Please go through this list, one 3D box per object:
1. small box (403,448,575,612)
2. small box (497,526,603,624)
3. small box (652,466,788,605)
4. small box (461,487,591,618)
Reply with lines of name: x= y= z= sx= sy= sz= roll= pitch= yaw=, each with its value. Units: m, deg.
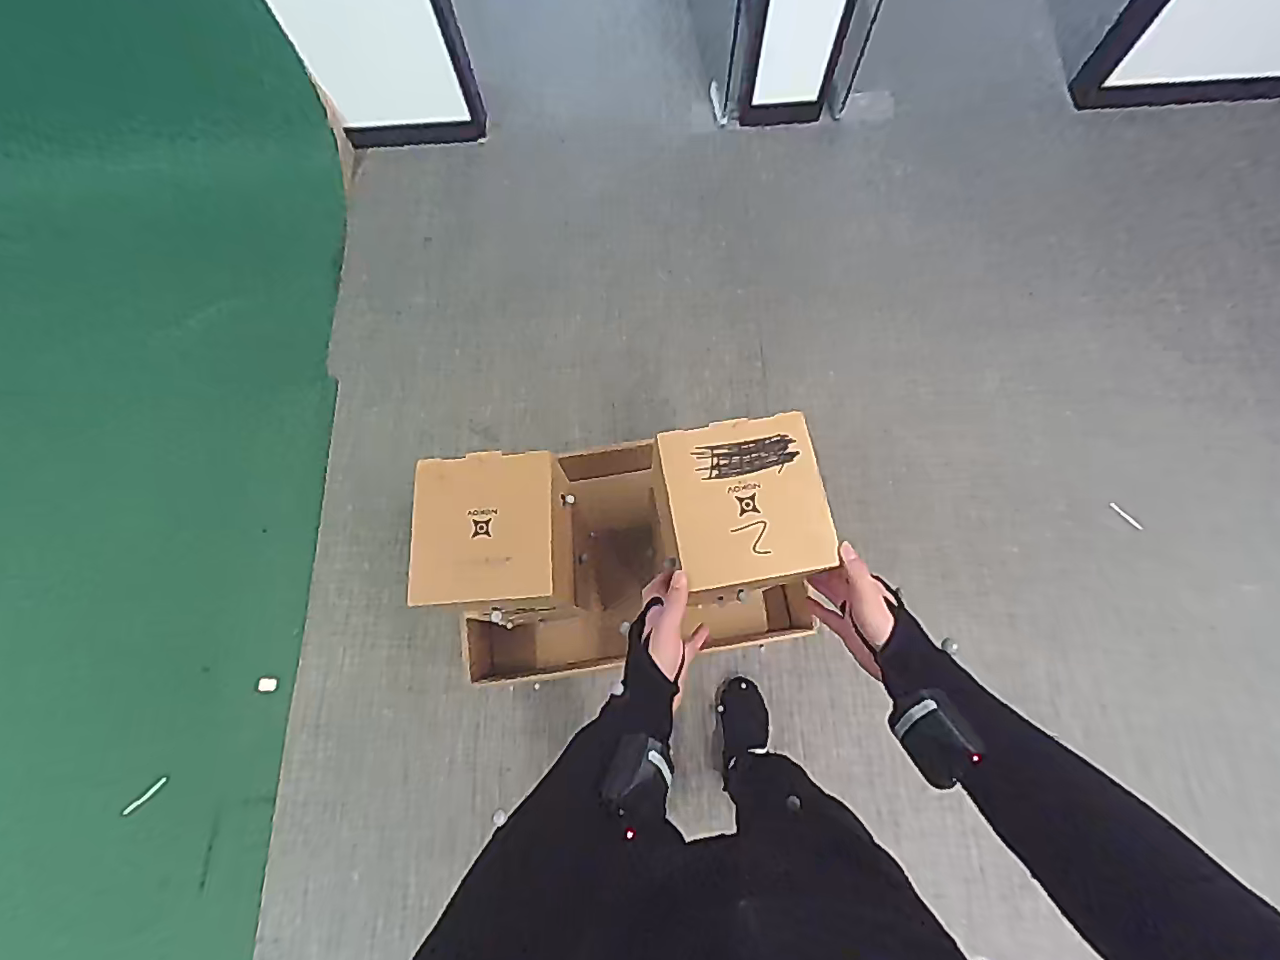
small box: x=-0.178 y=0.071 z=0.690 sx=0.168 sy=0.176 sz=0.179 roll=-3 pitch=73 yaw=1
small box: x=-0.166 y=0.169 z=1.002 sx=0.168 sy=0.176 sz=0.179 roll=-8 pitch=73 yaw=0
small box: x=0.114 y=0.096 z=0.842 sx=0.168 sy=0.176 sz=0.179 roll=-10 pitch=74 yaw=-2
small box: x=-0.169 y=0.121 z=0.845 sx=0.168 sy=0.176 sz=0.179 roll=-4 pitch=72 yaw=0
